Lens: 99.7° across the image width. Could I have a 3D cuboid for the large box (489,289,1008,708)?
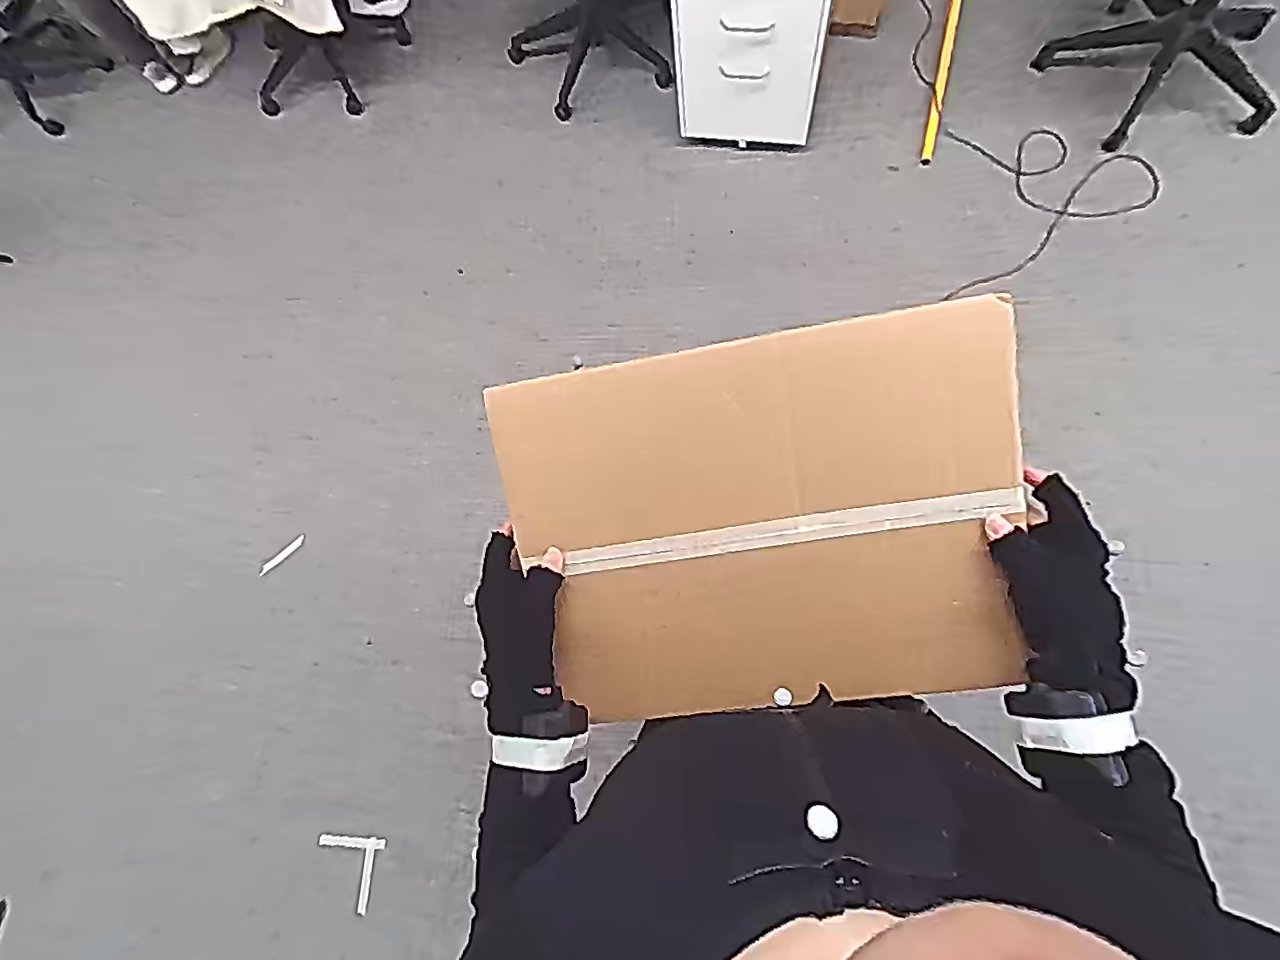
[{"bbox_3d":[0.105,0.008,0.603,0.408,0.320,0.320,-9,101,8],"label":"large box"}]
